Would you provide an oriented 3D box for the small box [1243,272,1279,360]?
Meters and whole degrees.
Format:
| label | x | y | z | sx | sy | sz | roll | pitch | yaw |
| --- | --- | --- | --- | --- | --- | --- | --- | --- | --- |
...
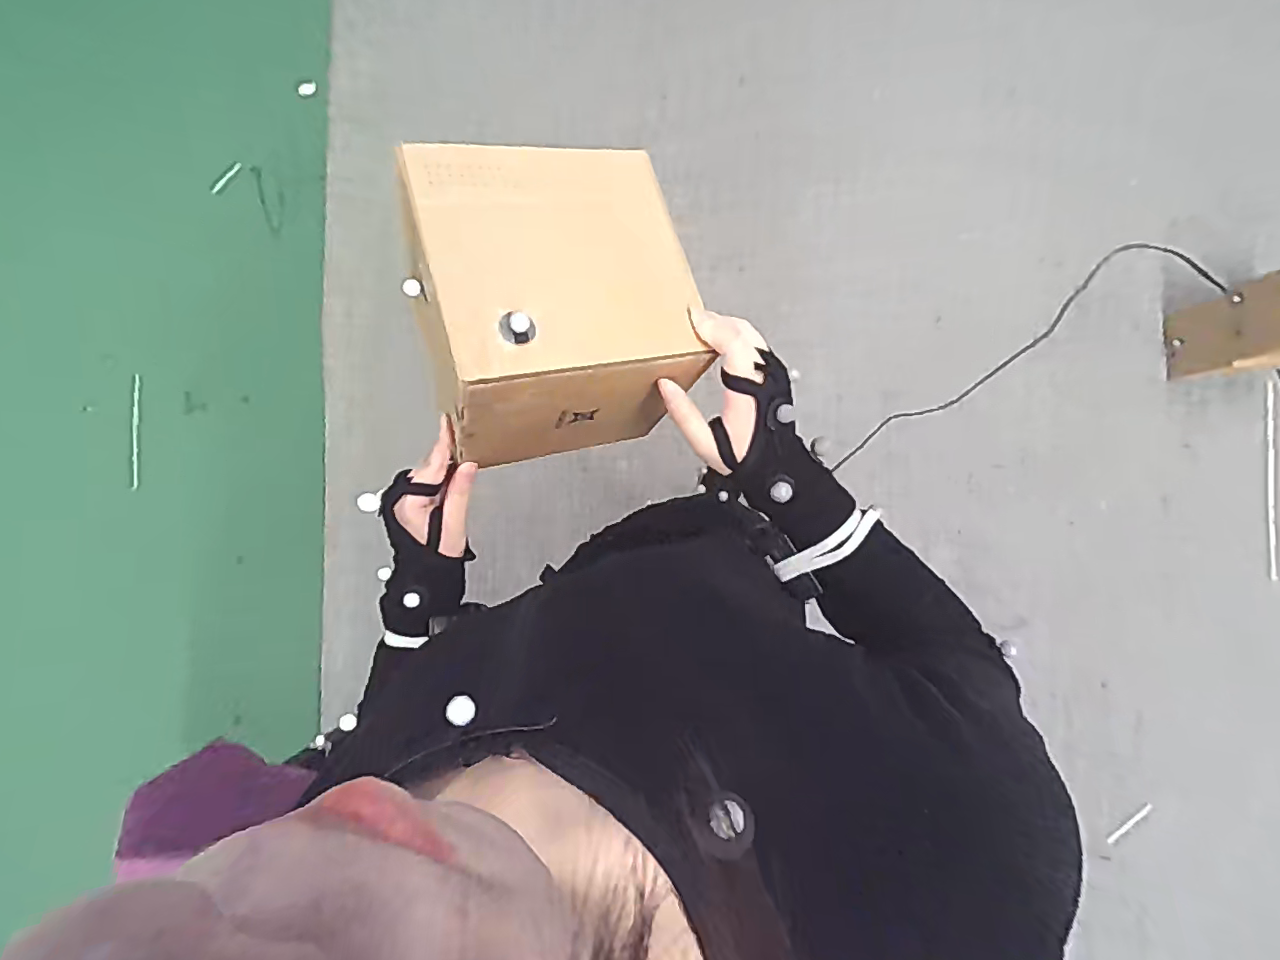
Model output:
| label | x | y | z | sx | sy | sz | roll | pitch | yaw |
| --- | --- | --- | --- | --- | --- | --- | --- | --- | --- |
| small box | 1.368 | -0.341 | 1.076 | 0.179 | 0.176 | 0.168 | -3 | 89 | 8 |

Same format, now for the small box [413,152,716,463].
| label | x | y | z | sx | sy | sz | roll | pitch | yaw |
| --- | --- | --- | --- | --- | --- | --- | --- | --- | --- |
| small box | -0.071 | -0.130 | 0.434 | 0.179 | 0.168 | 0.176 | -11 | 77 | -22 |
